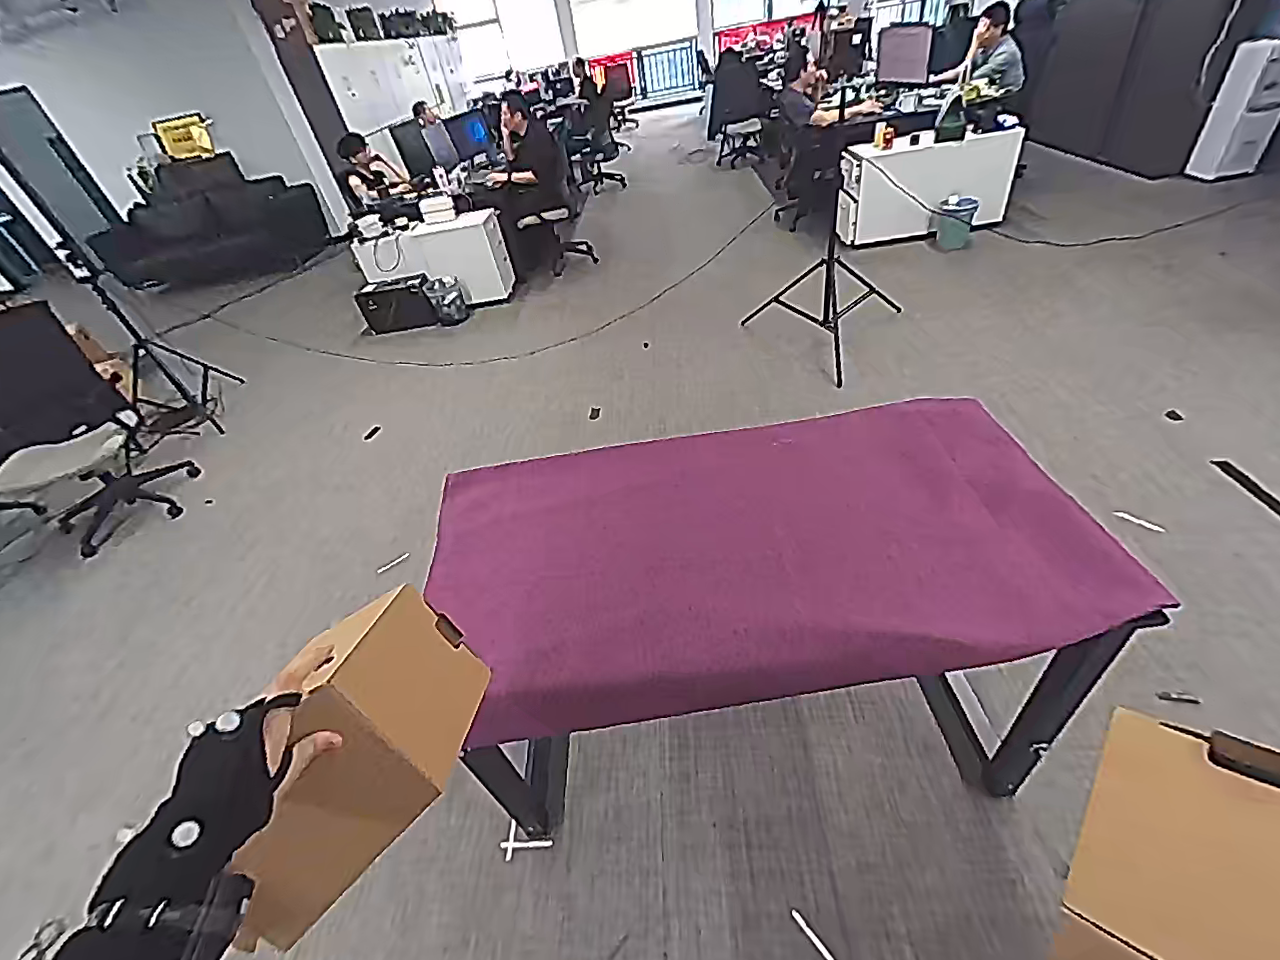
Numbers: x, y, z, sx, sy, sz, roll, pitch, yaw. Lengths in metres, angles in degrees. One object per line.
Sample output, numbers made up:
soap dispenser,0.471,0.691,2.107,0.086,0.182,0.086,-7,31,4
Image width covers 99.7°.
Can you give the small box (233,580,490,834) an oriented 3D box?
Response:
small box,-0.307,0.253,0.614,0.176,0.168,0.179,-30,16,12
